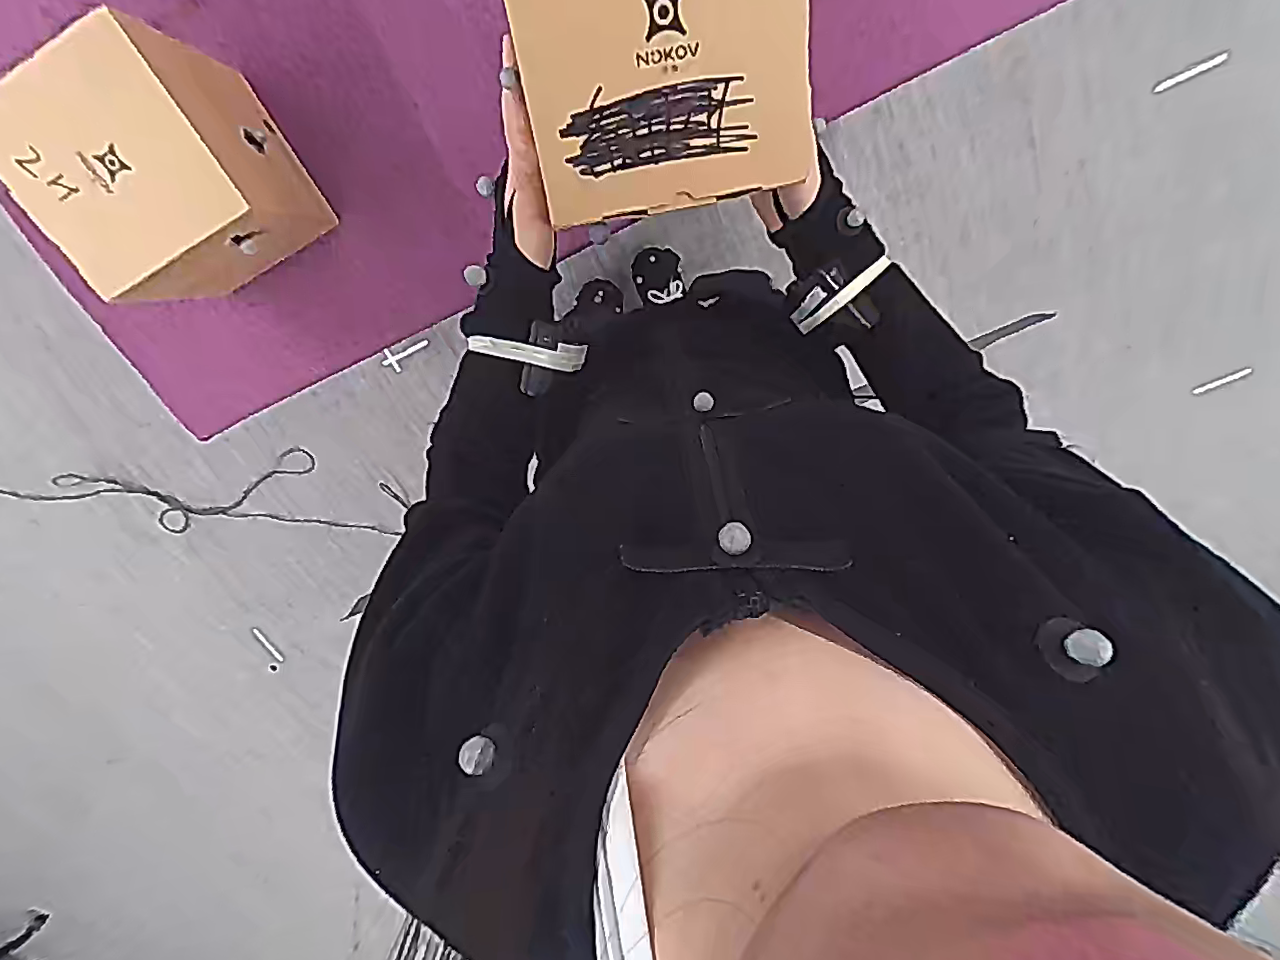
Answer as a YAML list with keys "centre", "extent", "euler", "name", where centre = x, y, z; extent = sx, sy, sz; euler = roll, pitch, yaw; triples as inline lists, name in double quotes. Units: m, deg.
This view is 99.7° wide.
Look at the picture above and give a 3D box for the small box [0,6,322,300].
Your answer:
- centre: [-0.455, -0.298, 0.534]
  extent: [0.179, 0.176, 0.168]
  euler: [-26, 109, 8]
  name: "small box"
